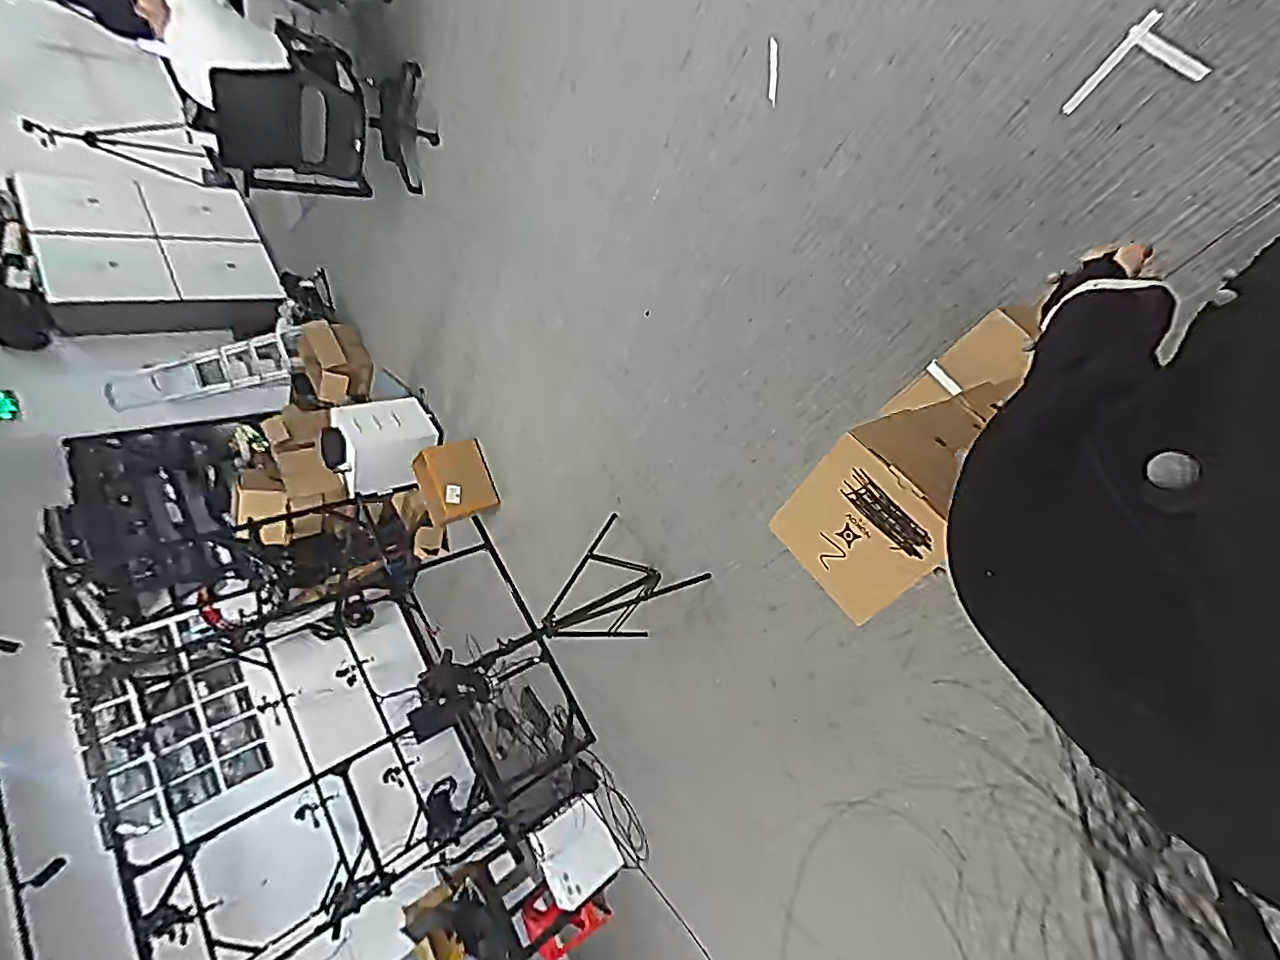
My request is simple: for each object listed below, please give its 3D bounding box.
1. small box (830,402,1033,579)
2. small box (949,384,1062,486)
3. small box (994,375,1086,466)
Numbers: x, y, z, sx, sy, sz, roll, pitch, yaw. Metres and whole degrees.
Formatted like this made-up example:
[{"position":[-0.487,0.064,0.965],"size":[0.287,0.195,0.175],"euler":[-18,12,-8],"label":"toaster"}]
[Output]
[{"position":[0.420,0.007,0.776],"size":[0.168,0.176,0.179],"euler":[52,136,24],"label":"small box"},{"position":[0.540,-0.037,0.880],"size":[0.168,0.176,0.179],"euler":[55,138,21],"label":"small box"},{"position":[0.659,-0.069,0.986],"size":[0.168,0.176,0.179],"euler":[55,137,19],"label":"small box"}]
